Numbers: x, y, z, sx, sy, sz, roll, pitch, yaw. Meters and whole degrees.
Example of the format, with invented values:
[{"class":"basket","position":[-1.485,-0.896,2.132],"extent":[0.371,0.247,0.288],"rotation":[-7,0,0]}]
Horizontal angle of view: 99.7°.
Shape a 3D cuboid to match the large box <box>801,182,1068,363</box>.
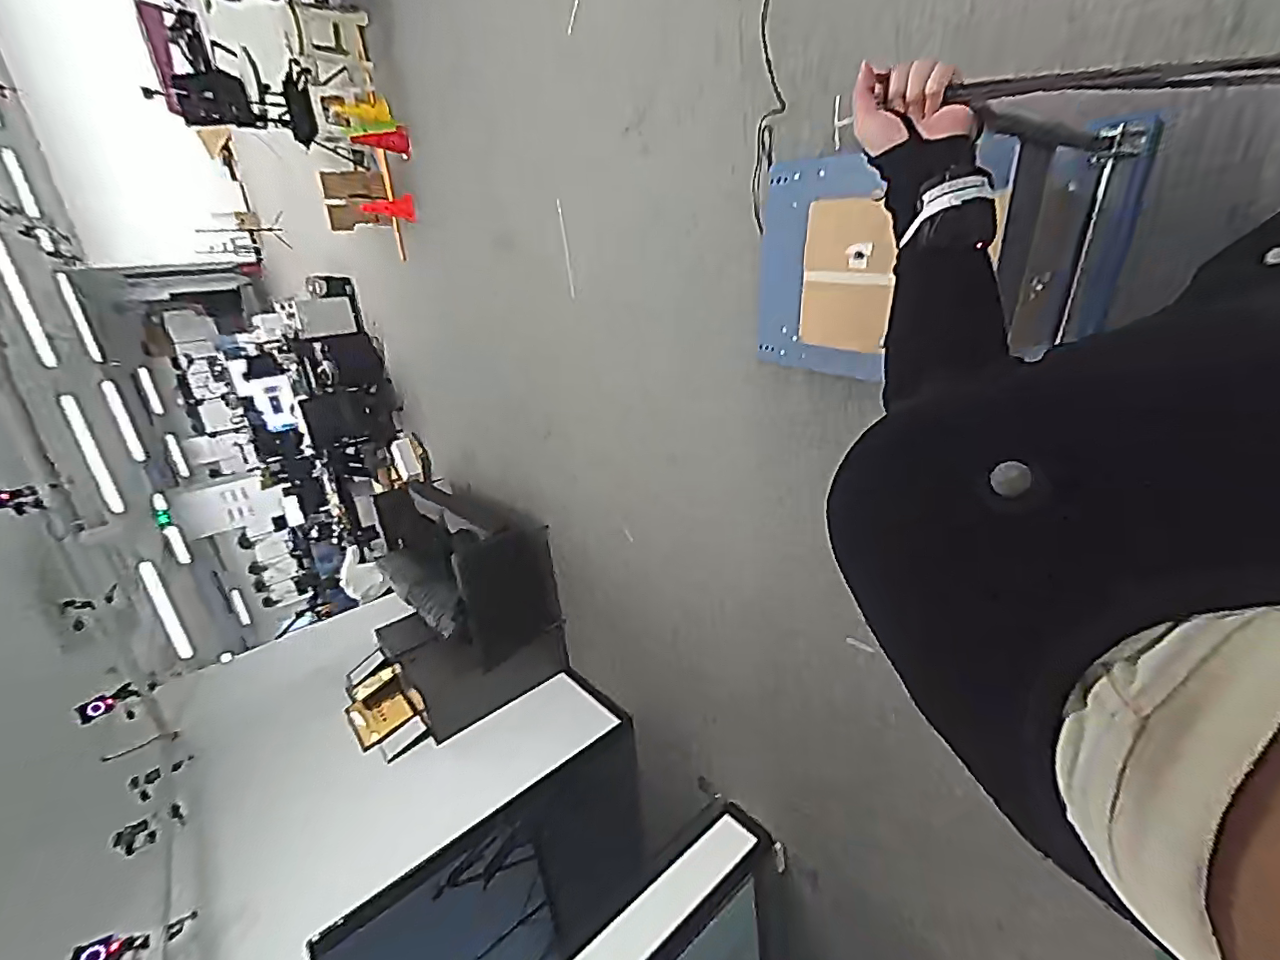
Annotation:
[{"class":"large box","position":[0.624,-0.461,1.193],"extent":[0.408,0.320,0.320],"rotation":[26,126,45]}]
